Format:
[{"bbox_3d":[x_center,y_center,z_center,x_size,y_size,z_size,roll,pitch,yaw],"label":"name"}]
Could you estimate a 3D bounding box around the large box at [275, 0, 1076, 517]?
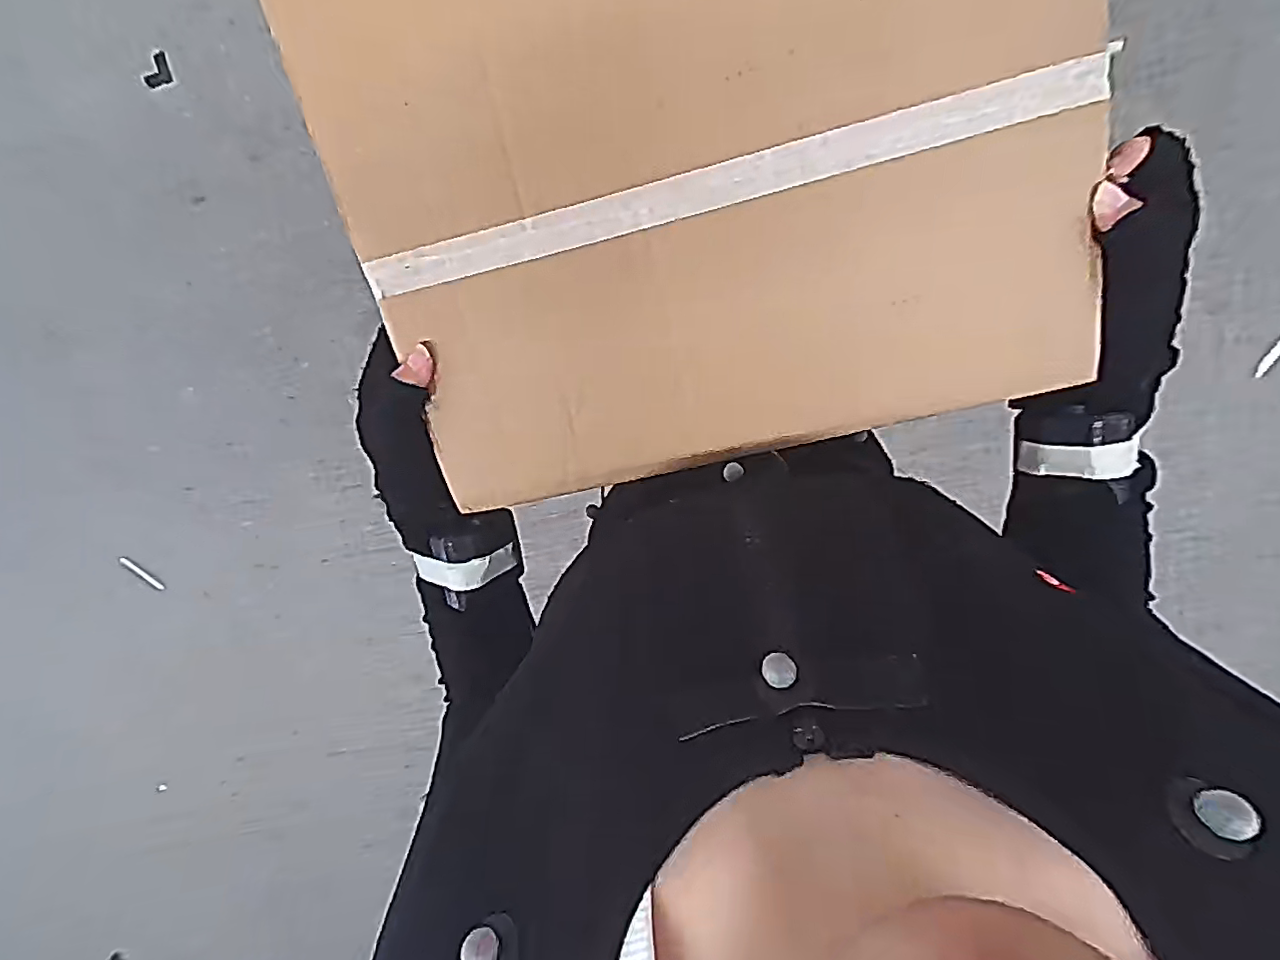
[{"bbox_3d":[0.041,-0.209,0.447,0.408,0.320,0.320,-12,109,7],"label":"large box"}]
